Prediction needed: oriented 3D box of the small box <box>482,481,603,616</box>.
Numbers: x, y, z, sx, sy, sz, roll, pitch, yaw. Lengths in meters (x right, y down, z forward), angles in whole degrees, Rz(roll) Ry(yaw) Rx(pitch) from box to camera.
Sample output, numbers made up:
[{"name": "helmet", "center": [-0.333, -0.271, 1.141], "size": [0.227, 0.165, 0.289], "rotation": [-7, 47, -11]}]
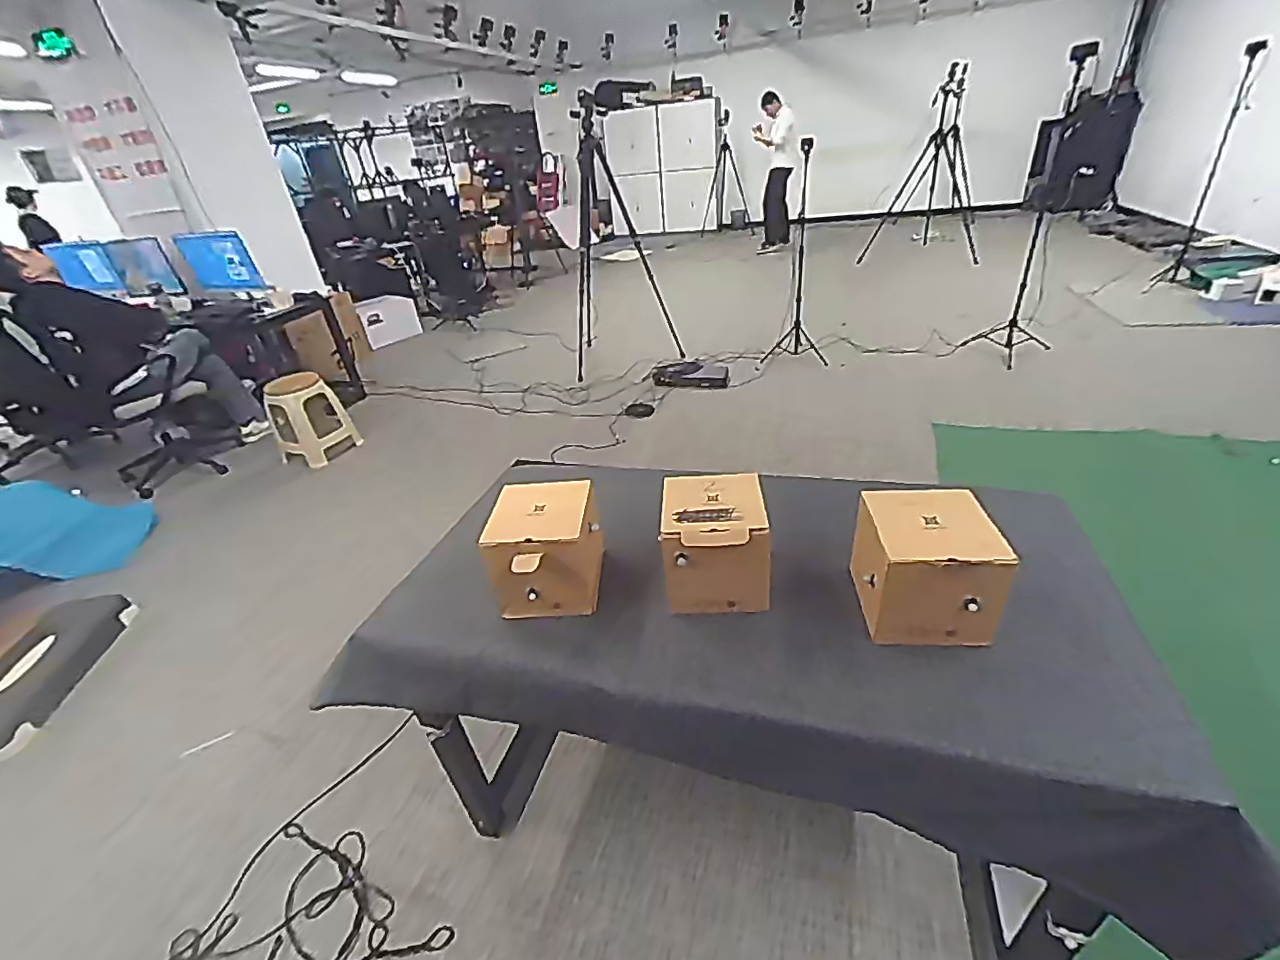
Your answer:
[{"name": "small box", "center": [-0.162, 0.119, 0.962], "size": [0.168, 0.176, 0.179], "rotation": [-3, 32, 5]}]

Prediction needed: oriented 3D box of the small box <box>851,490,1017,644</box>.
[{"name": "small box", "center": [0.433, 0.132, 0.829], "size": [0.168, 0.176, 0.179], "rotation": [-1, 31, 8]}]
